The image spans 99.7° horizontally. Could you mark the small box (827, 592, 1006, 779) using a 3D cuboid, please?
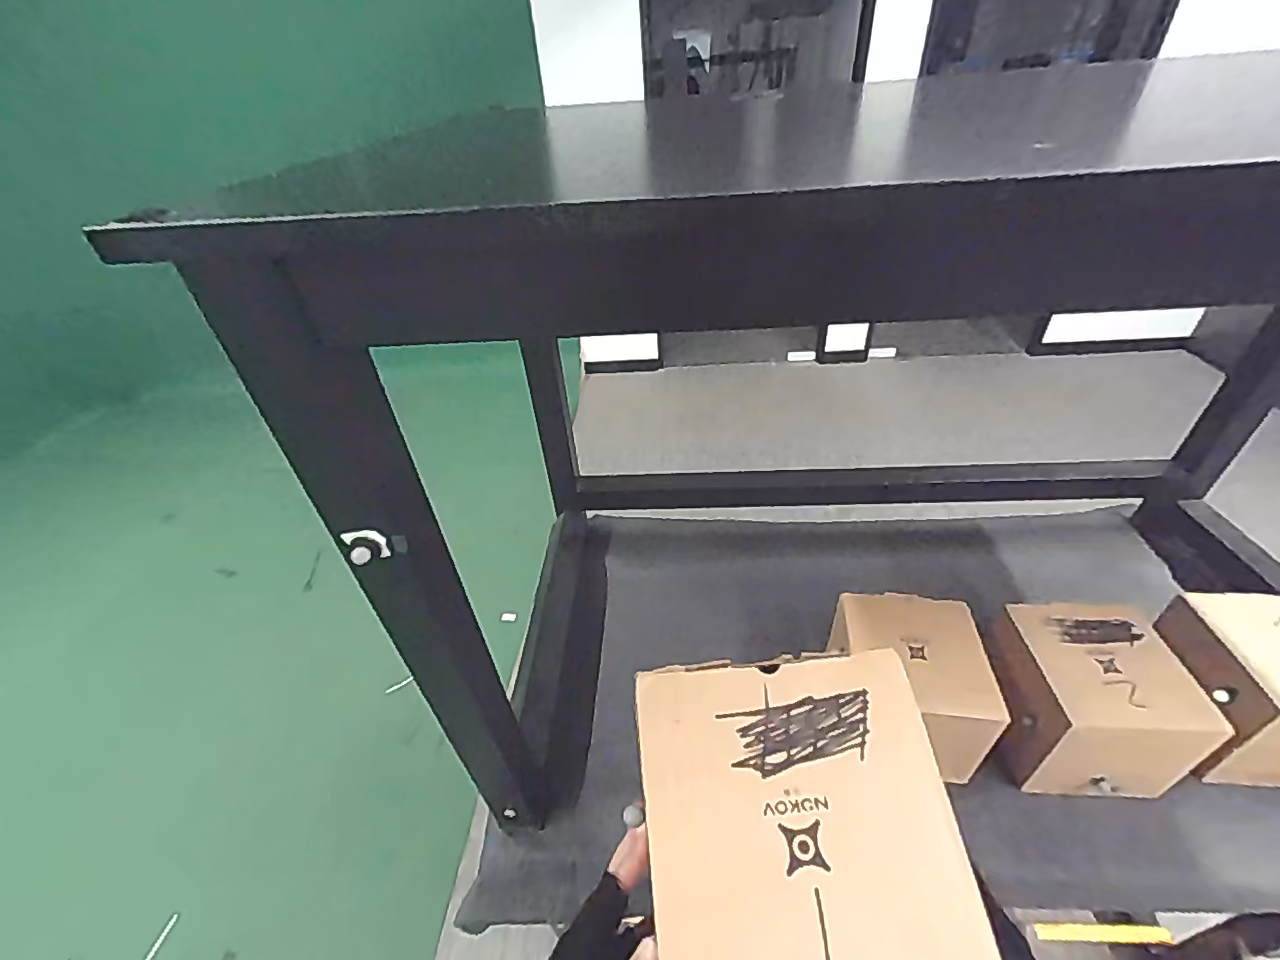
[{"bbox_3d":[0.359,0.280,0.742,0.168,0.176,0.179,3,38,10],"label":"small box"}]

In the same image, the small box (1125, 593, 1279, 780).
[{"bbox_3d":[0.798,0.269,0.700,0.168,0.176,0.179,1,37,7],"label":"small box"}]
